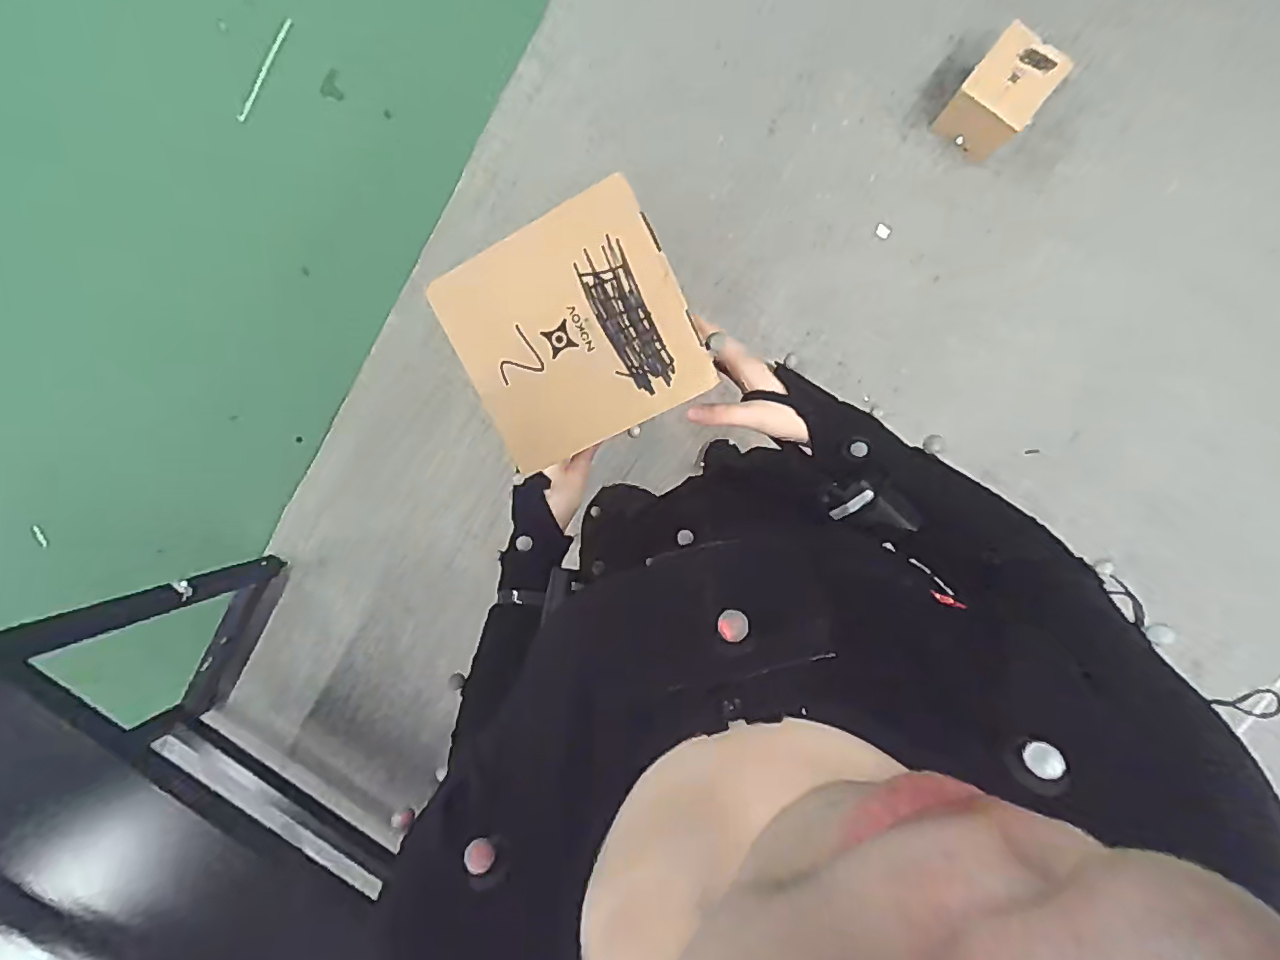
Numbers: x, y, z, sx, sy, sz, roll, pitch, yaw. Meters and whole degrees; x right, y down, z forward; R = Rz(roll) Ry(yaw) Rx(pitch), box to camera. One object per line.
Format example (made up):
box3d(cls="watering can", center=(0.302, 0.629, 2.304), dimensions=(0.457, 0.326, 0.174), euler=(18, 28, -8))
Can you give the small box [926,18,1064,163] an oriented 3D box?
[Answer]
box3d(cls="small box", center=(0.813, -0.896, 1.261), dimensions=(0.168, 0.176, 0.179), euler=(38, 98, 2))
